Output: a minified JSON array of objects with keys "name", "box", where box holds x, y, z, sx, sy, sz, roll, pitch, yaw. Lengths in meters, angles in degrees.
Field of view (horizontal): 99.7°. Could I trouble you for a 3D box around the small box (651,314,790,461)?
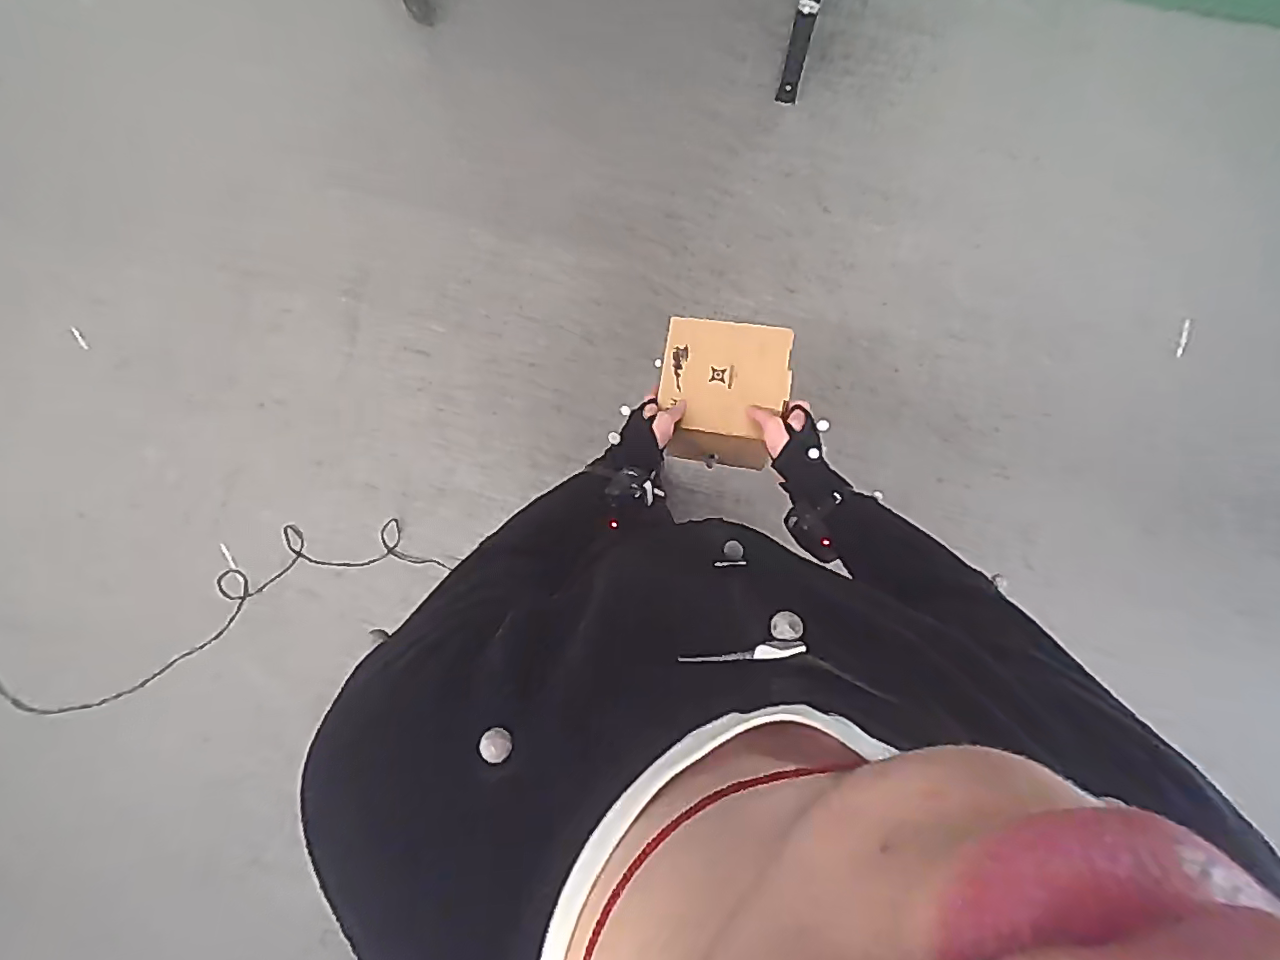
[{"name":"small box","box":[0.118,-0.131,0.829,0.179,0.176,0.168,8,79,5]}]
